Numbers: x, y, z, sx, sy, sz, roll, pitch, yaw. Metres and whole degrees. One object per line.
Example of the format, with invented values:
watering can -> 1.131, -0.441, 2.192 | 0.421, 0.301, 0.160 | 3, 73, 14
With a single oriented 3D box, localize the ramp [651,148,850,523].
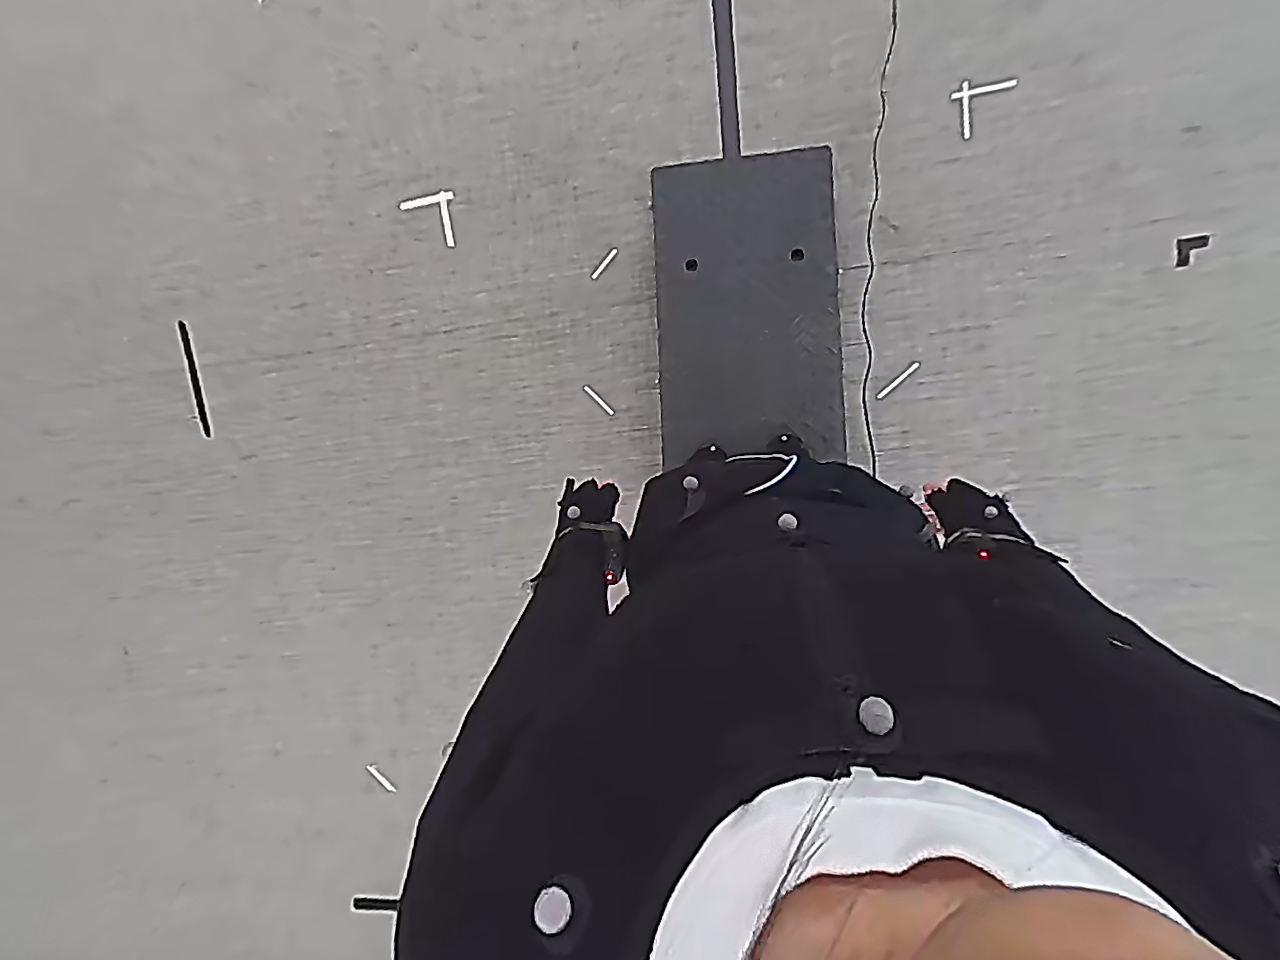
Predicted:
ramp -> 0.288, -0.387, 1.474 | 0.509, 0.206, 0.991 | -4, 97, 10
